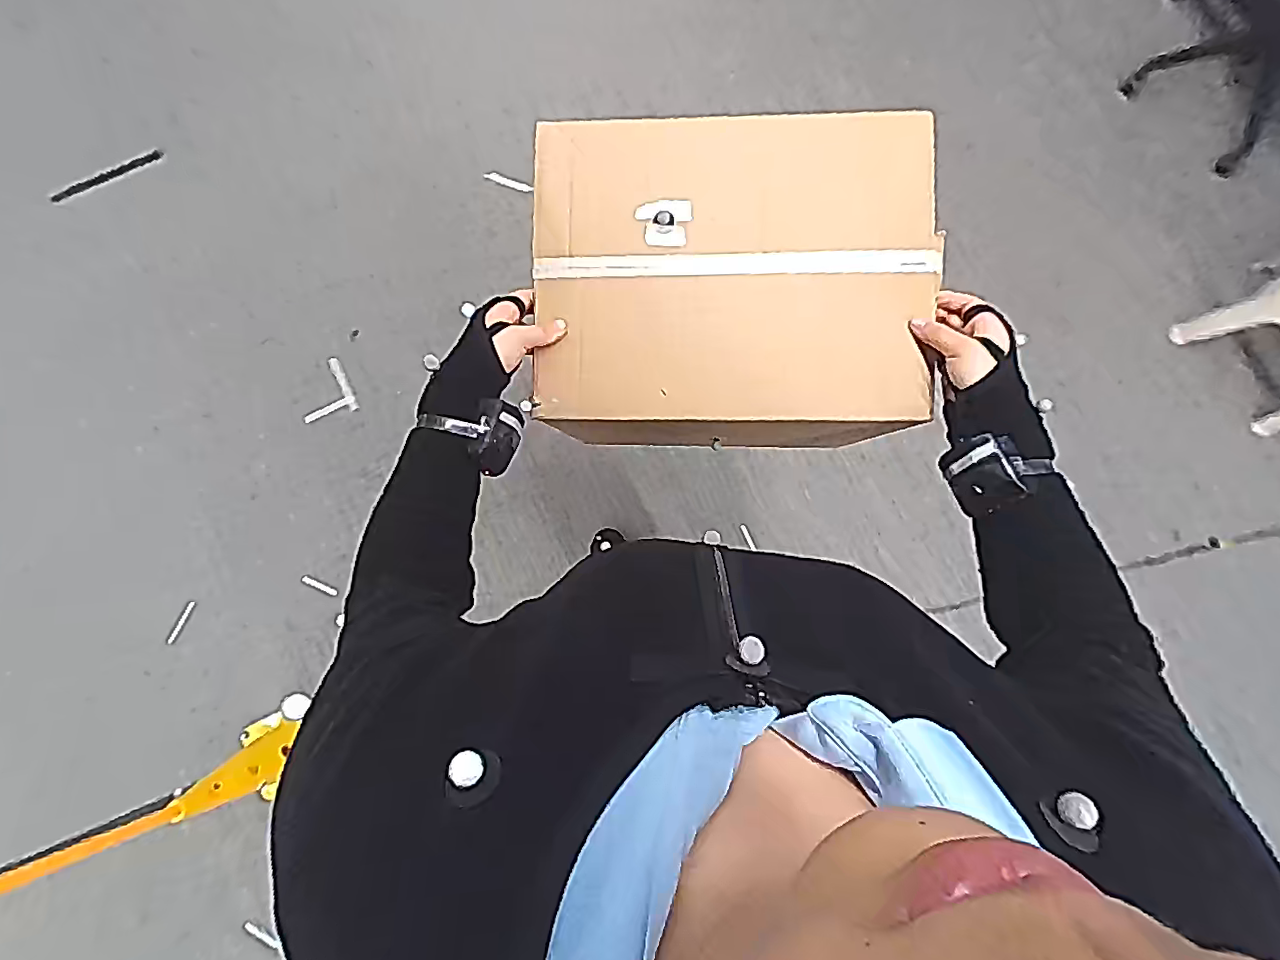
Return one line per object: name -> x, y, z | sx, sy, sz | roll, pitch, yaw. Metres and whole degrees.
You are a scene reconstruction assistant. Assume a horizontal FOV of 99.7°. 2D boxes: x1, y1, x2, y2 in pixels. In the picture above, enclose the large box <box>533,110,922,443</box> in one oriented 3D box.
large box -> 0.098, -0.217, 0.710 | 0.408, 0.320, 0.320 | 0, 87, 5
